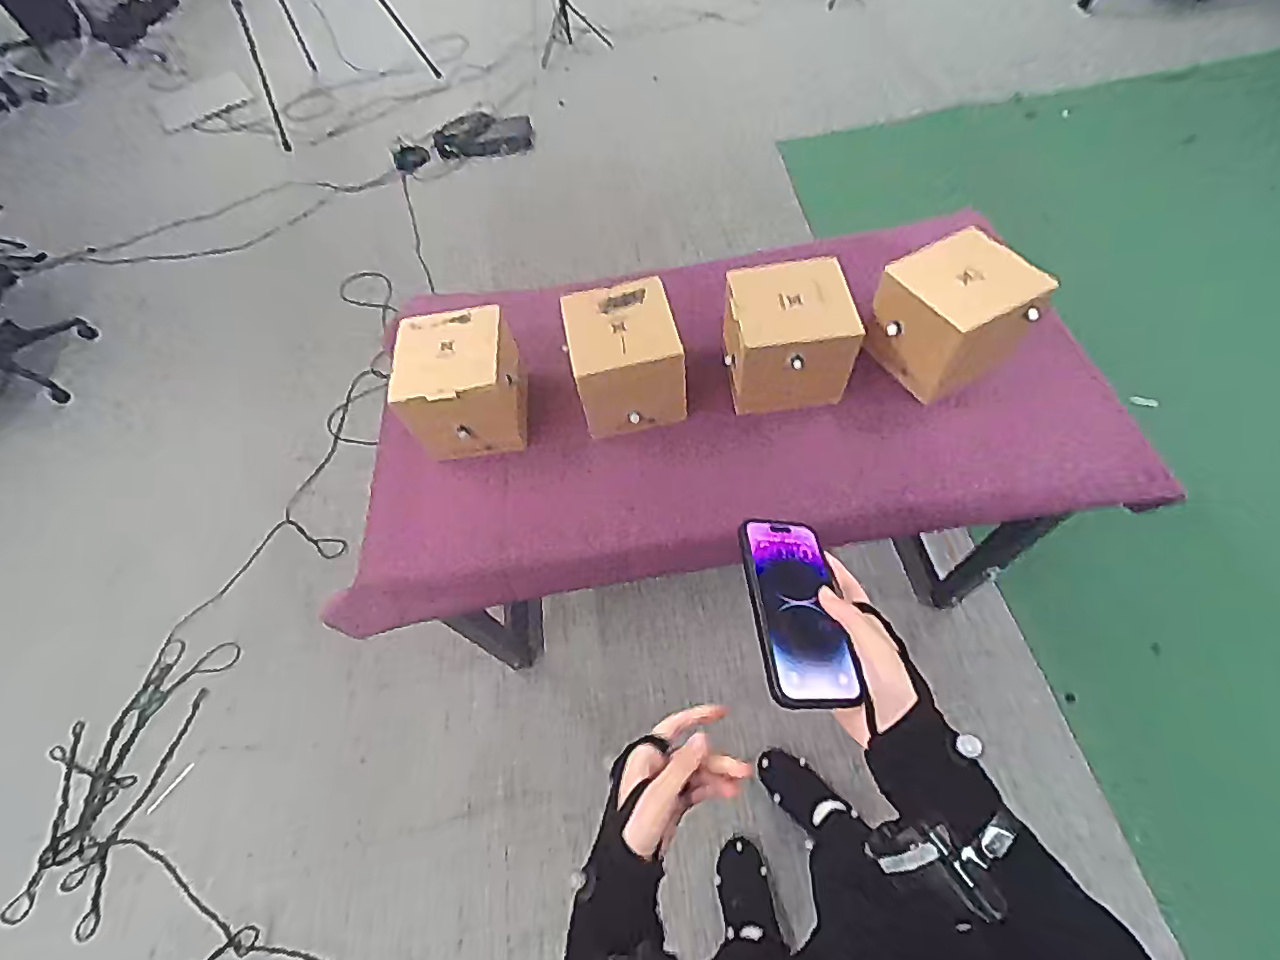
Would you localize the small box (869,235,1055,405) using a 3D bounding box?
[{"bbox_3d":[0.494,-0.250,0.867,0.179,0.176,0.168,-27,59,-9],"label":"small box"}]

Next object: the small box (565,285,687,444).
[{"bbox_3d":[-0.020,-0.187,0.896,0.168,0.176,0.179,-12,59,0],"label":"small box"}]

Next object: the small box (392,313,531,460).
[{"bbox_3d":[-0.285,-0.146,0.906,0.168,0.176,0.179,-8,59,3],"label":"small box"}]

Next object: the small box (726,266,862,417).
[{"bbox_3d":[0.238,-0.218,0.882,0.179,0.176,0.168,-6,59,4],"label":"small box"}]
